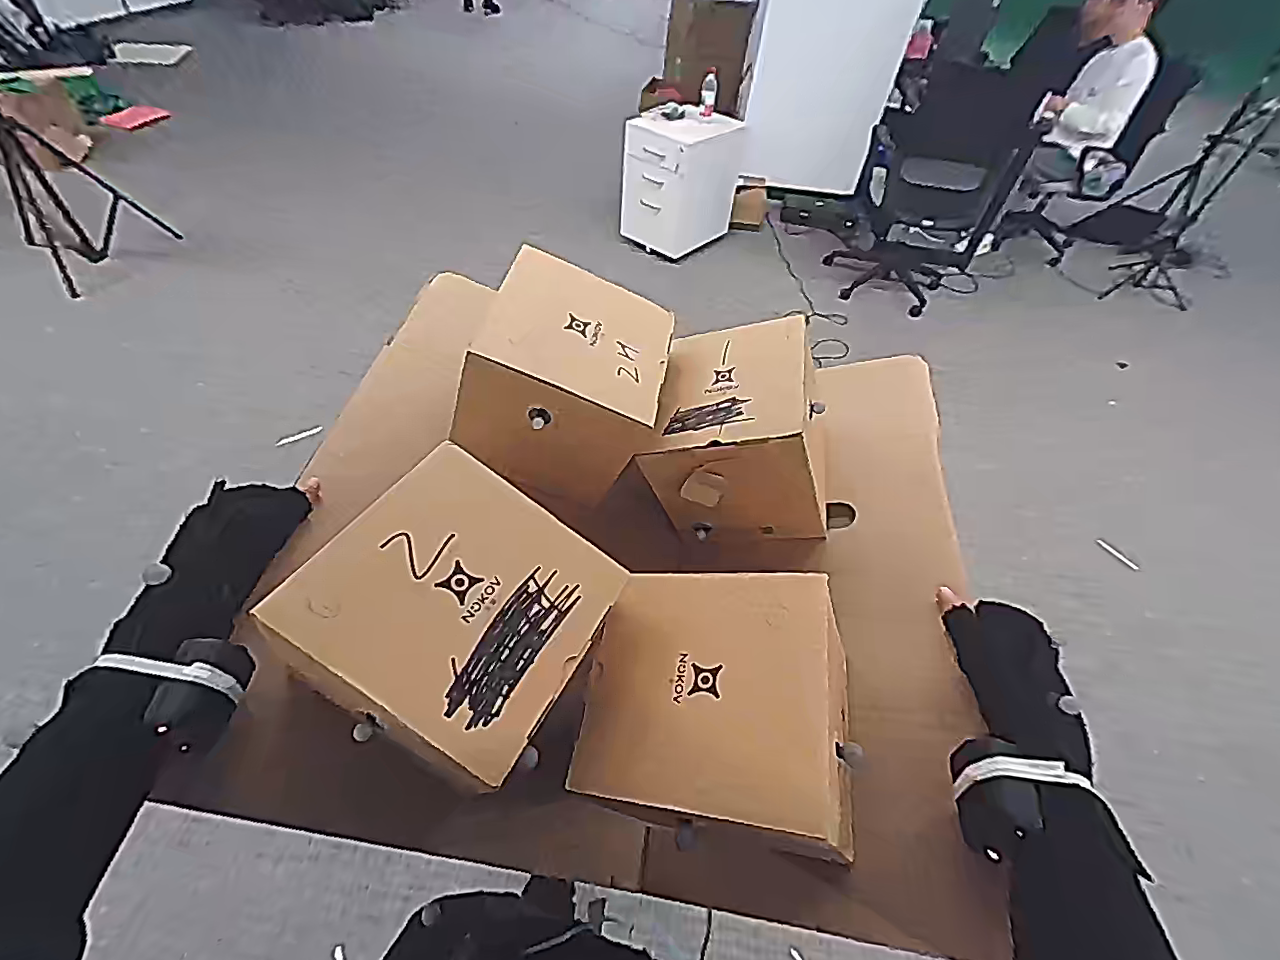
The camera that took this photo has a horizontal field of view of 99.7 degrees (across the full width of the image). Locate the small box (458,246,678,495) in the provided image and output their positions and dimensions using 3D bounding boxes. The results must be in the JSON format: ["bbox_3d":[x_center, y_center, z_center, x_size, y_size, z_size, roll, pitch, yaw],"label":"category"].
[{"bbox_3d":[-0.081,-0.107,0.587,0.179,0.176,0.168,22,54,-13],"label":"small box"}]
